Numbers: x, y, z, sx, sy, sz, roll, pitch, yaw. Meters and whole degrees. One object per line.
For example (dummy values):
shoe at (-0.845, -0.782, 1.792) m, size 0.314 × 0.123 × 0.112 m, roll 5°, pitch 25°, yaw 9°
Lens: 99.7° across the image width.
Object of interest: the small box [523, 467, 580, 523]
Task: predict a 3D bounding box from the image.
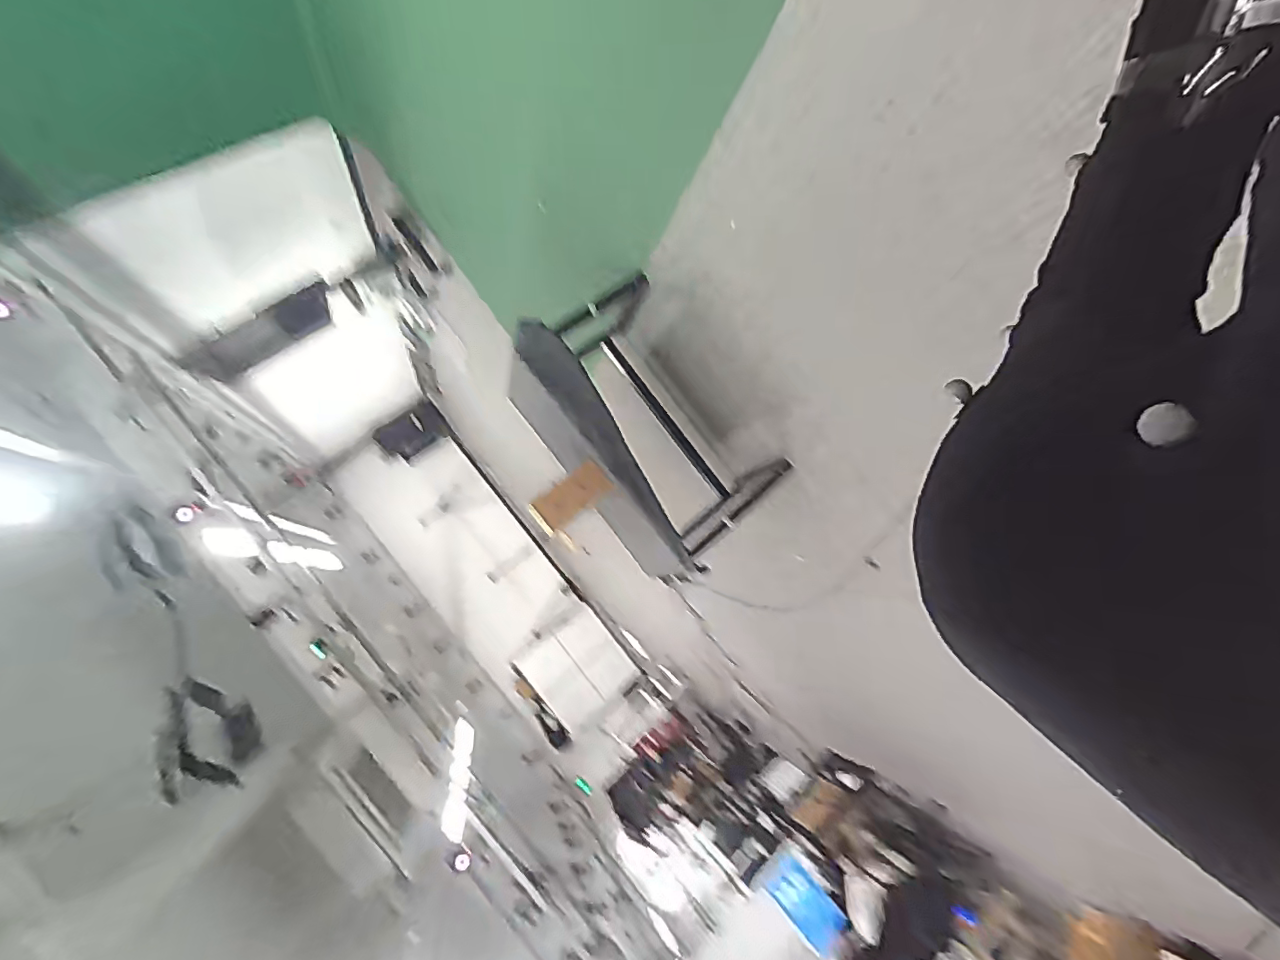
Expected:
small box at (-0.389, 0.062, 2.364) m, size 0.179 × 0.176 × 0.168 m, roll 52°, pitch 161°, yaw -1°

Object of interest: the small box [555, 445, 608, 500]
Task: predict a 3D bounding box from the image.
small box at (-0.265, -0.033, 2.416) m, size 0.179 × 0.176 × 0.168 m, roll 53°, pitch 161°, yaw -3°
